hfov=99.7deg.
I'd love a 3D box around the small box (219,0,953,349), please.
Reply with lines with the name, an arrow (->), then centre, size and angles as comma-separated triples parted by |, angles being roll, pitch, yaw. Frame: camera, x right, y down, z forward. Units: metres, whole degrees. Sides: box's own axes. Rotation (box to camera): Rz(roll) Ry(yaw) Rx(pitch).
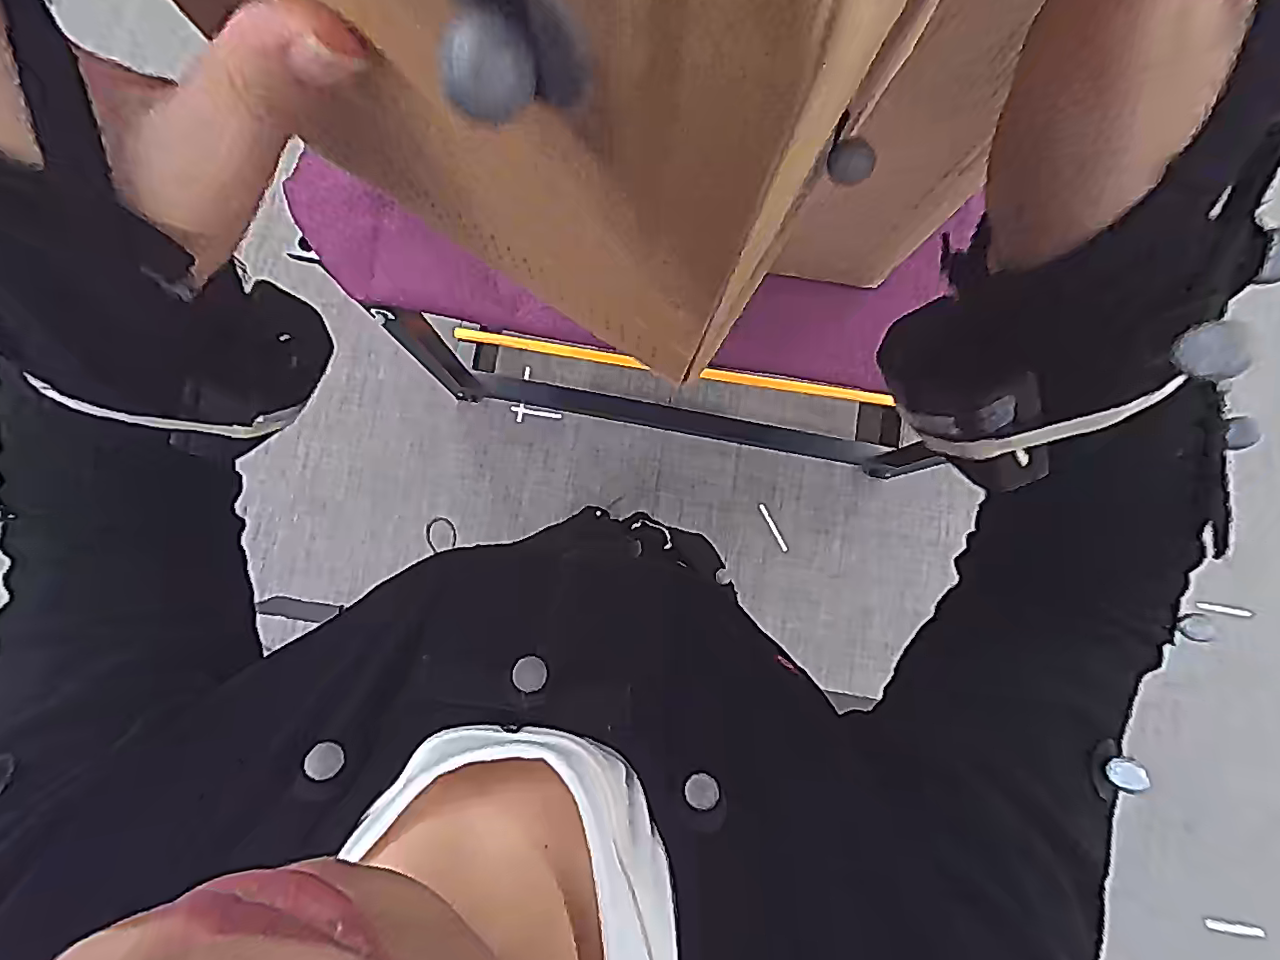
small box -> -0.005, -0.155, 0.122 | 0.179, 0.176, 0.168 | 33, 87, 0
